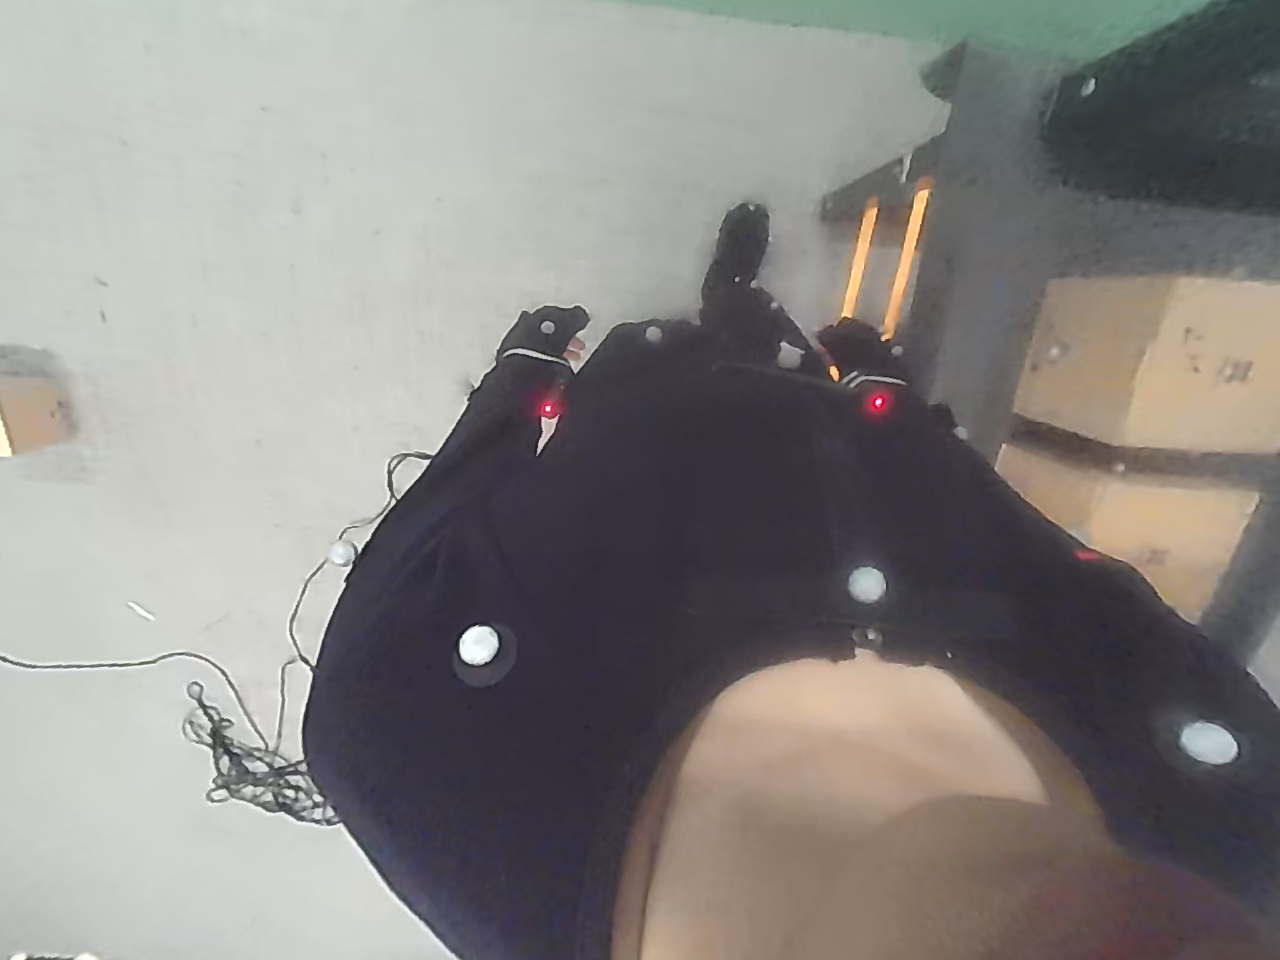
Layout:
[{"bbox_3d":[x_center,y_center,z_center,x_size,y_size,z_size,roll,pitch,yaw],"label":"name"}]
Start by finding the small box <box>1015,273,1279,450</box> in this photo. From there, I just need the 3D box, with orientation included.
[{"bbox_3d":[0.577,-0.138,0.605,0.179,0.176,0.168,3,109,-1],"label":"small box"}]
